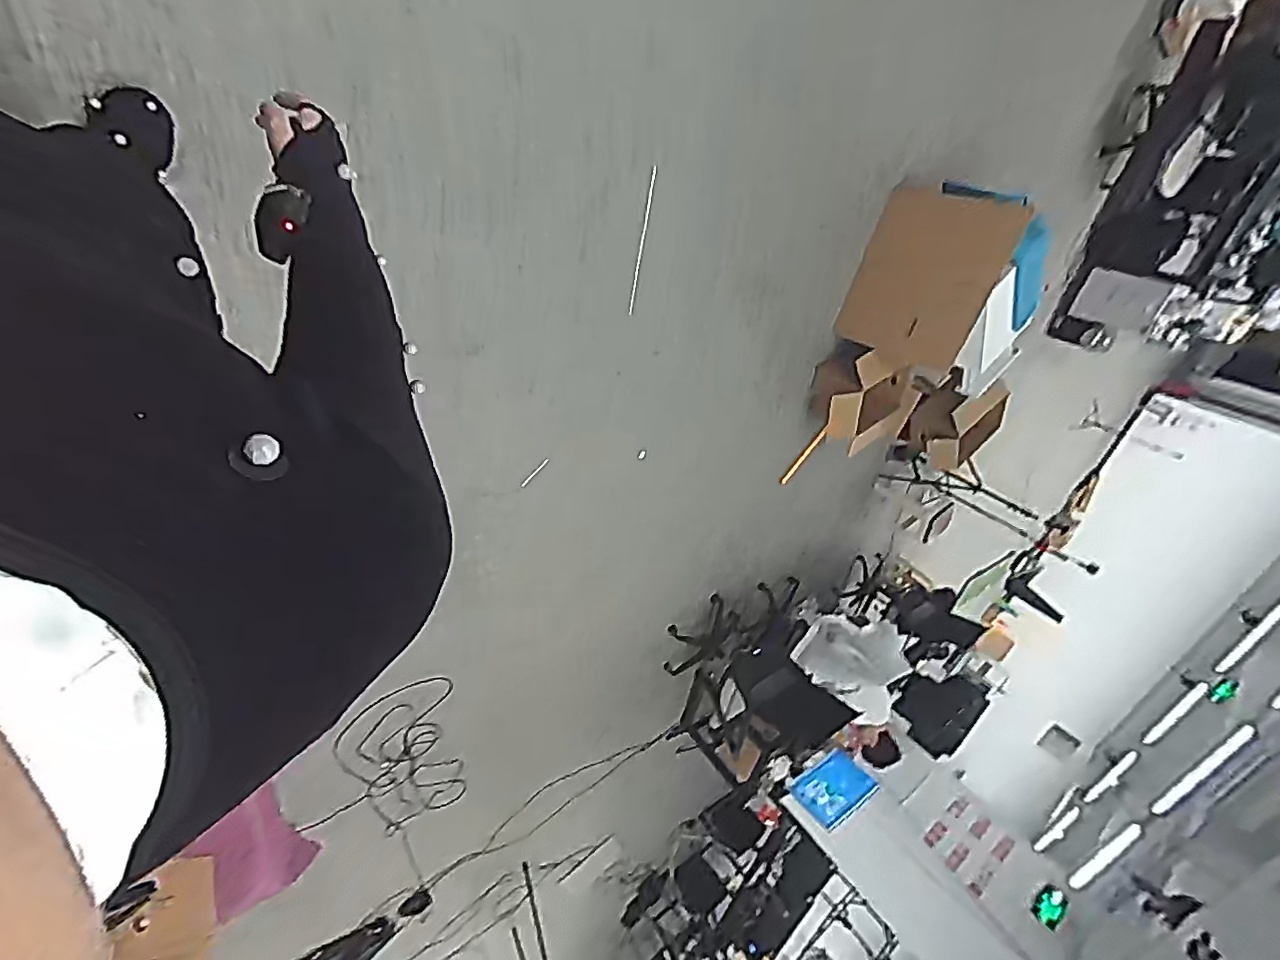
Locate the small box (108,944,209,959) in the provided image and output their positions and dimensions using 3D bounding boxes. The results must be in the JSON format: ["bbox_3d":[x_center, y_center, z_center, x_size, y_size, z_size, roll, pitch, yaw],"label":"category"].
[{"bbox_3d":[-0.870,0.938,0.921,0.179,0.176,0.168,-48,138,-2],"label":"small box"}]

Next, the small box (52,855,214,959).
[{"bbox_3d":[-0.961,0.854,1.027,0.168,0.176,0.179,-48,140,-1],"label":"small box"}]
